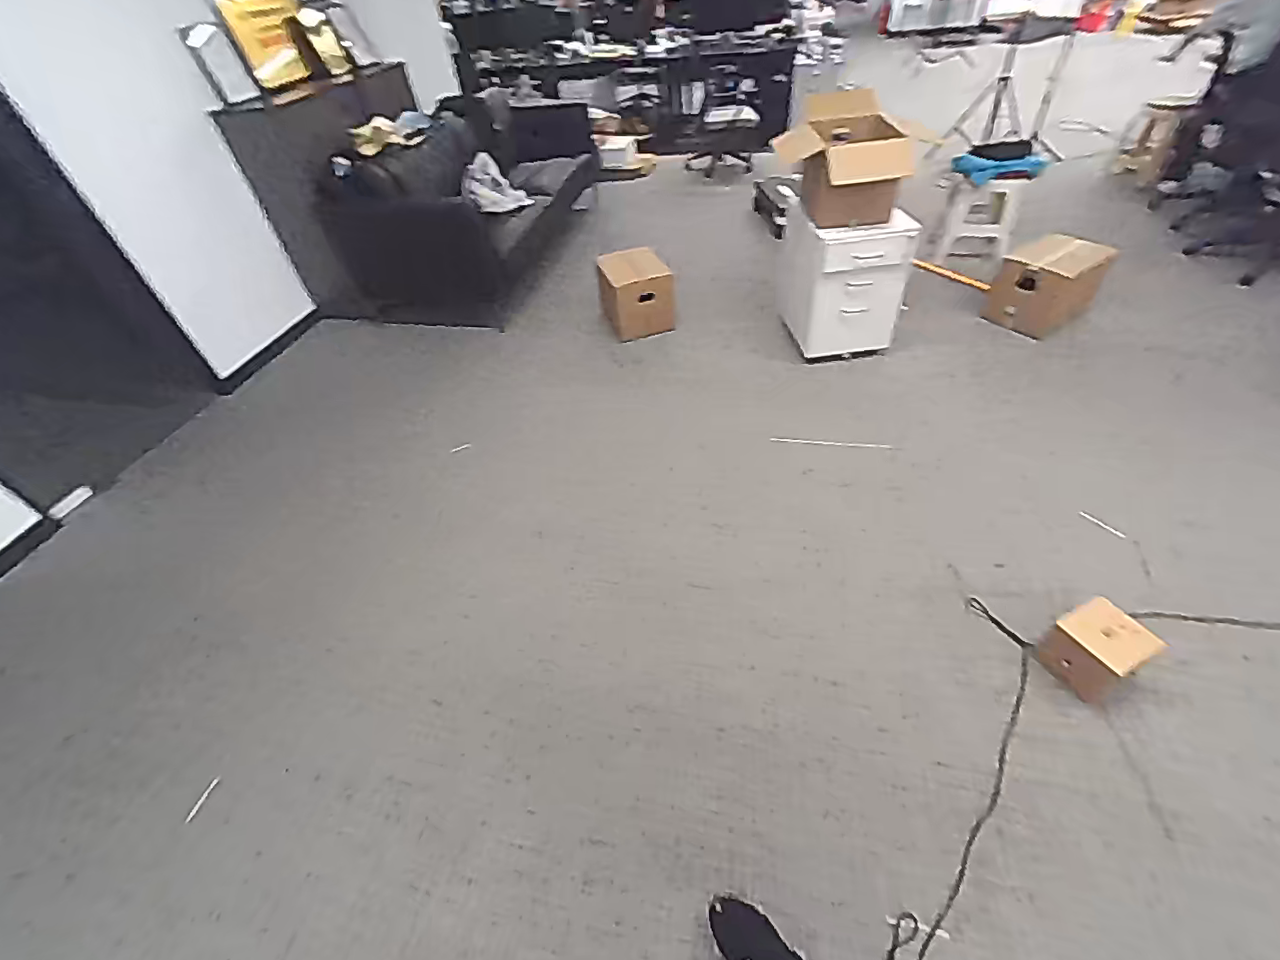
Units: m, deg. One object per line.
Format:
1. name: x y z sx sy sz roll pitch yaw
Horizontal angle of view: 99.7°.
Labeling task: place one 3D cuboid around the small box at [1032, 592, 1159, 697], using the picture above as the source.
1. small box: 1.172 0.432 1.413 0.179 0.176 0.168 -22 46 -15
